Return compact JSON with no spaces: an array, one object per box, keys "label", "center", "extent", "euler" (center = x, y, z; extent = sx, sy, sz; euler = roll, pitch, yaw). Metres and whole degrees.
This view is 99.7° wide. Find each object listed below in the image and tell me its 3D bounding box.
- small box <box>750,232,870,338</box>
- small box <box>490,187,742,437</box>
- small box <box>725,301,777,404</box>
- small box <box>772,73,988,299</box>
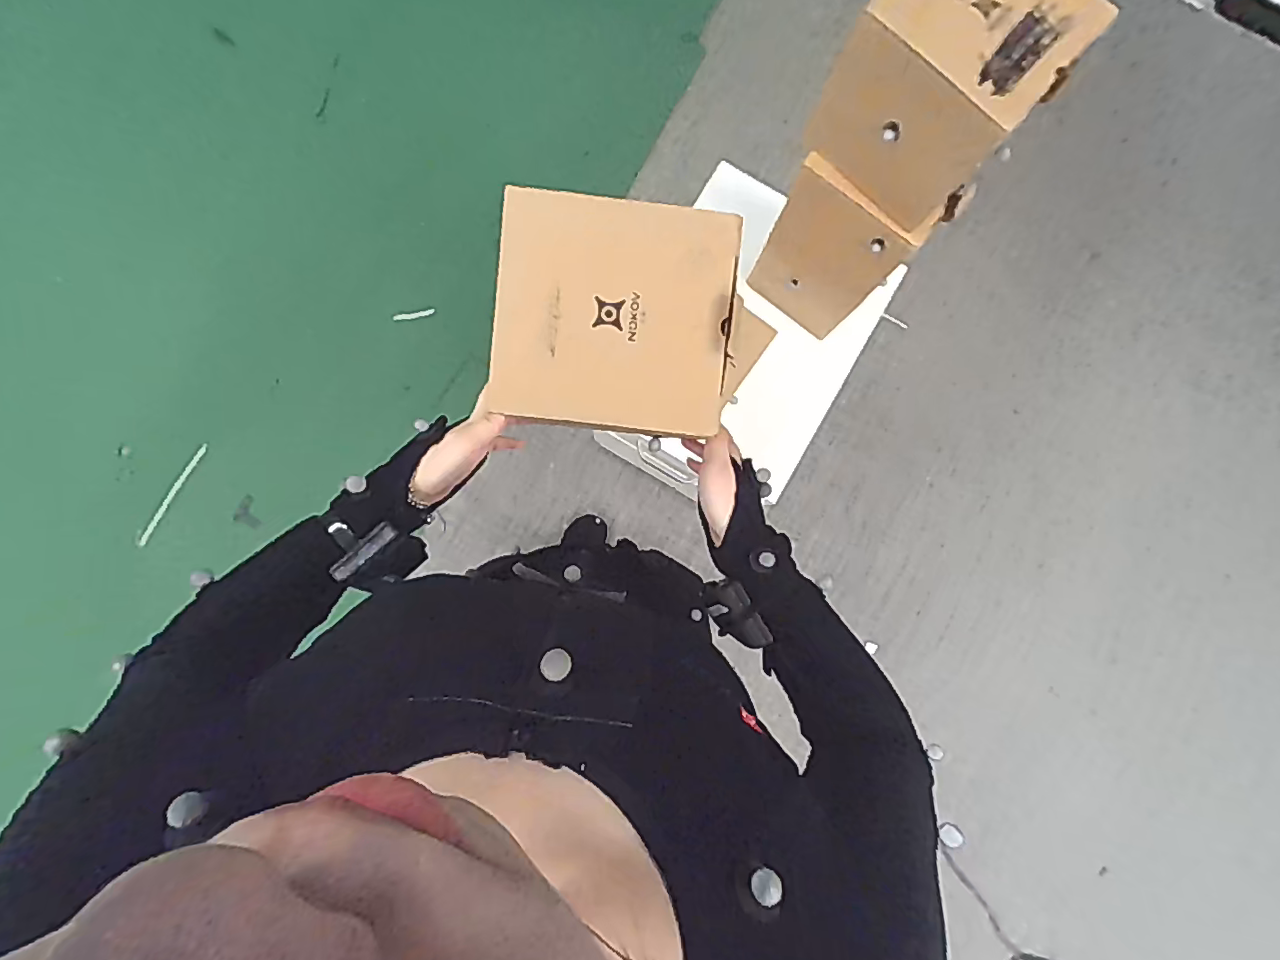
[{"label":"small box","center":[0.308,-0.367,0.899],"extent":[0.179,0.176,0.168],"euler":[38,85,2]},{"label":"small box","center":[-0.020,-0.127,0.477],"extent":[0.179,0.176,0.168],"euler":[5,92,-1]},{"label":"small box","center":[0.083,-0.196,0.873],"extent":[0.179,0.176,0.168],"euler":[37,84,0]},{"label":"small box","center":[0.308,-0.382,0.737],"extent":[0.179,0.176,0.168],"euler":[37,85,1]}]
